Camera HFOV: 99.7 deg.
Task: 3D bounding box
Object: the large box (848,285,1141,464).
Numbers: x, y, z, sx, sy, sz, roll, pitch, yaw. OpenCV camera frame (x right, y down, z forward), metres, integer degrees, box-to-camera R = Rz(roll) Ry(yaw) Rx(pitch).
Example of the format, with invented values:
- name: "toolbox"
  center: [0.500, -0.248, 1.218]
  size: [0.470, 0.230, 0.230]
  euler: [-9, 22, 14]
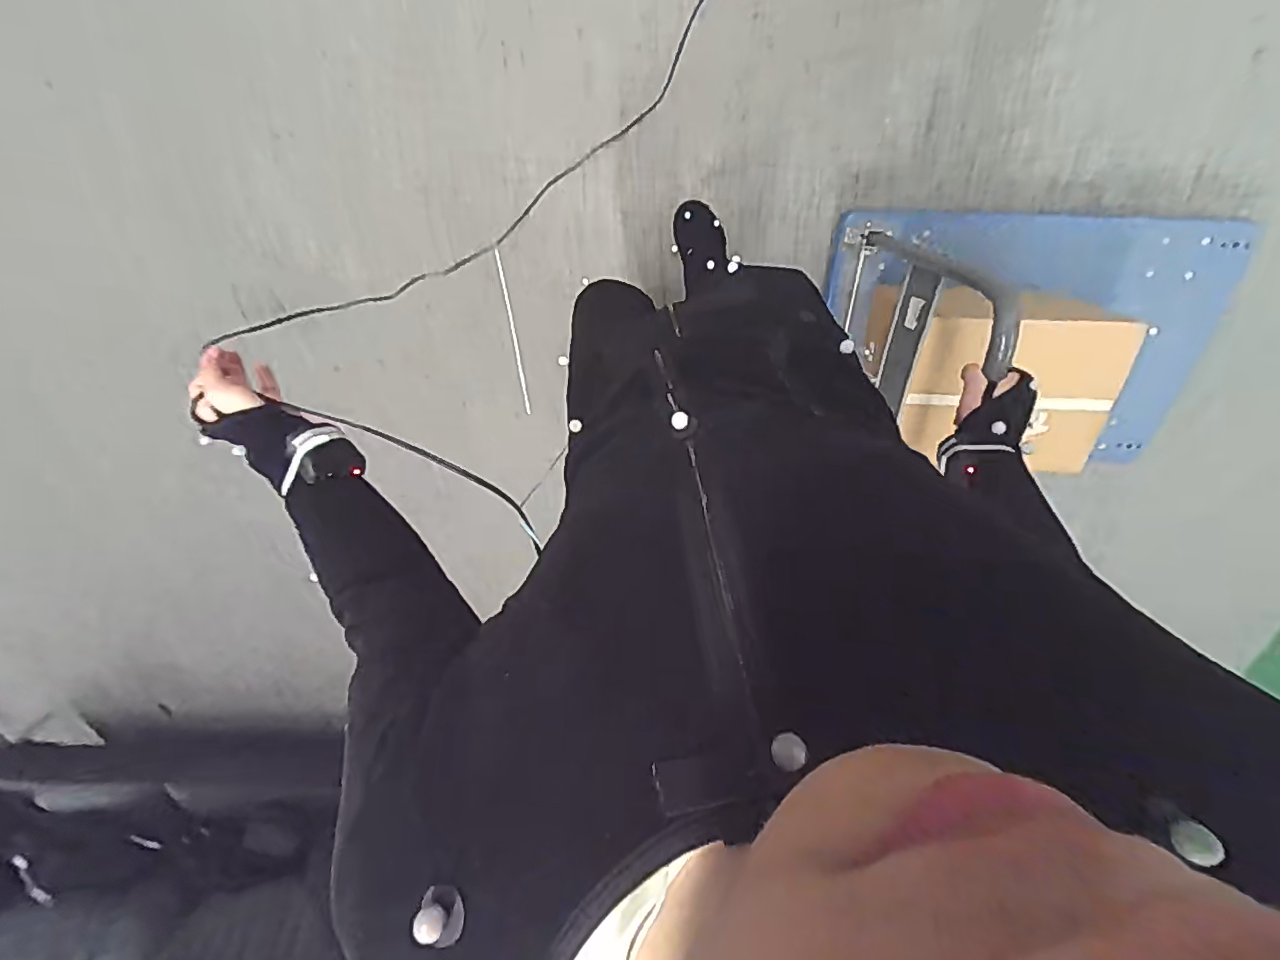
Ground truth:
- name: "large box"
  center: [0.722, -0.245, 1.194]
  size: [0.408, 0.320, 0.320]
  euler: [3, 121, 4]
